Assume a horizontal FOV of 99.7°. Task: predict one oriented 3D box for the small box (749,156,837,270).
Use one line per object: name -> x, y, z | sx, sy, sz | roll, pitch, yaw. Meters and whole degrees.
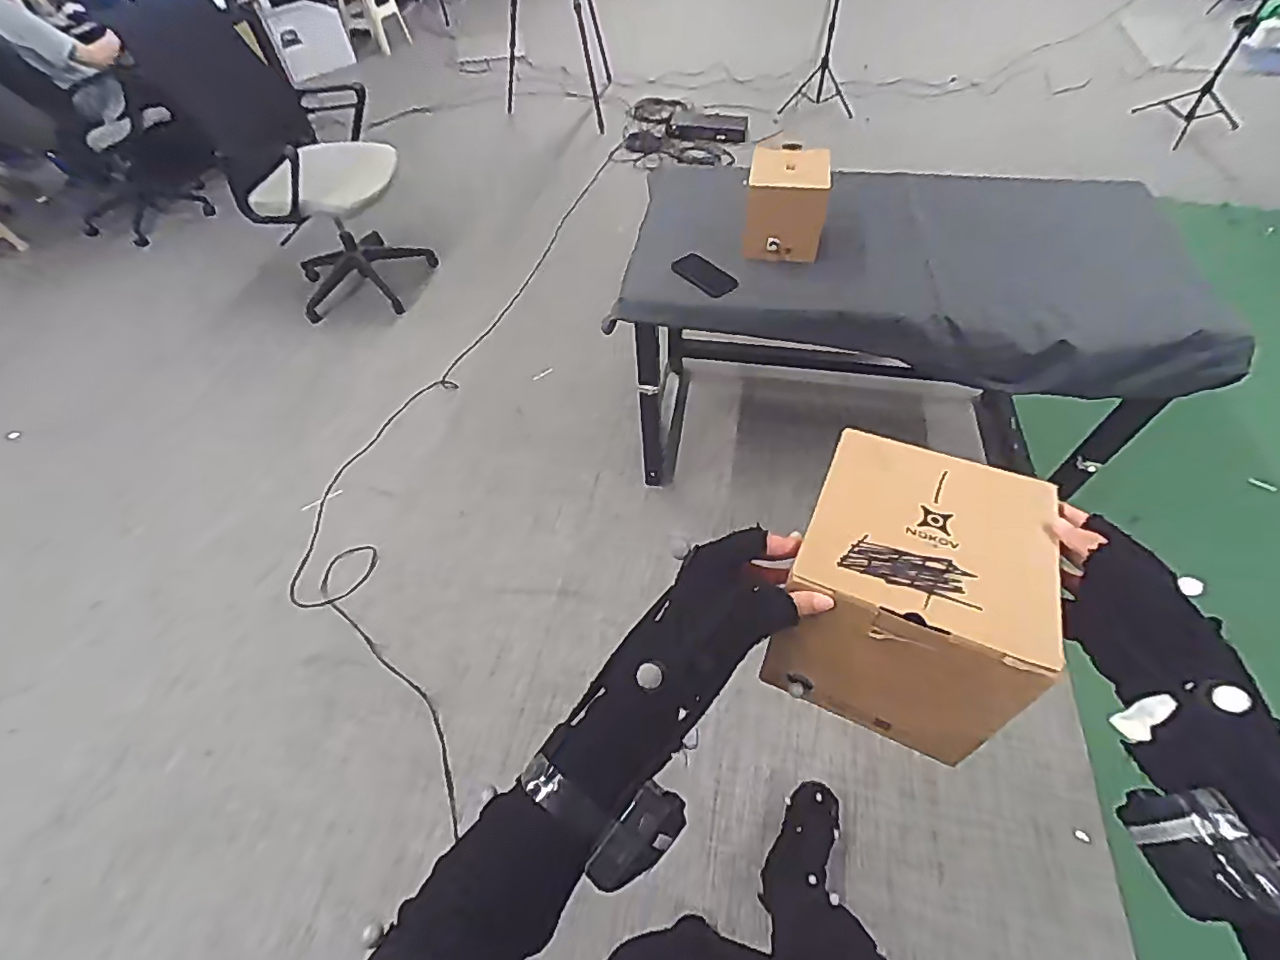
small box -> 0.340, -0.598, 1.213 | 0.168, 0.176, 0.179 | 7, 55, 10
